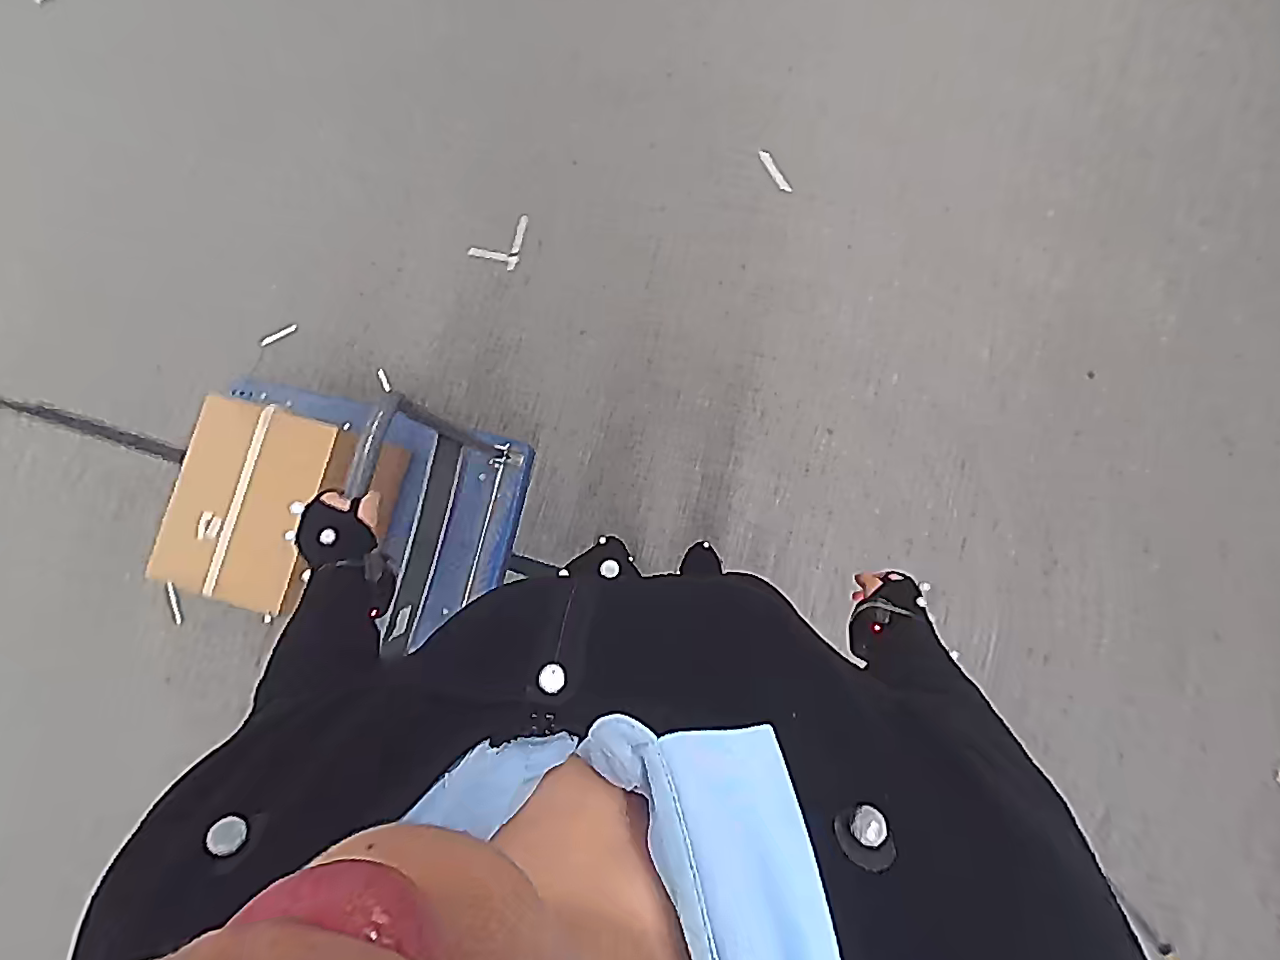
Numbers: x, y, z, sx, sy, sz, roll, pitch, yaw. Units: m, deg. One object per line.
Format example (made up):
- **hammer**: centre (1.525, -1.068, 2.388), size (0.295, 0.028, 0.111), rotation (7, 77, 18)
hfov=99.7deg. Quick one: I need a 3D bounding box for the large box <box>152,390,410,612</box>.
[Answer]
- **large box**: centre (-0.796, 0.048, 1.252), size (0.320, 0.320, 0.408), rotation (15, 87, 7)
